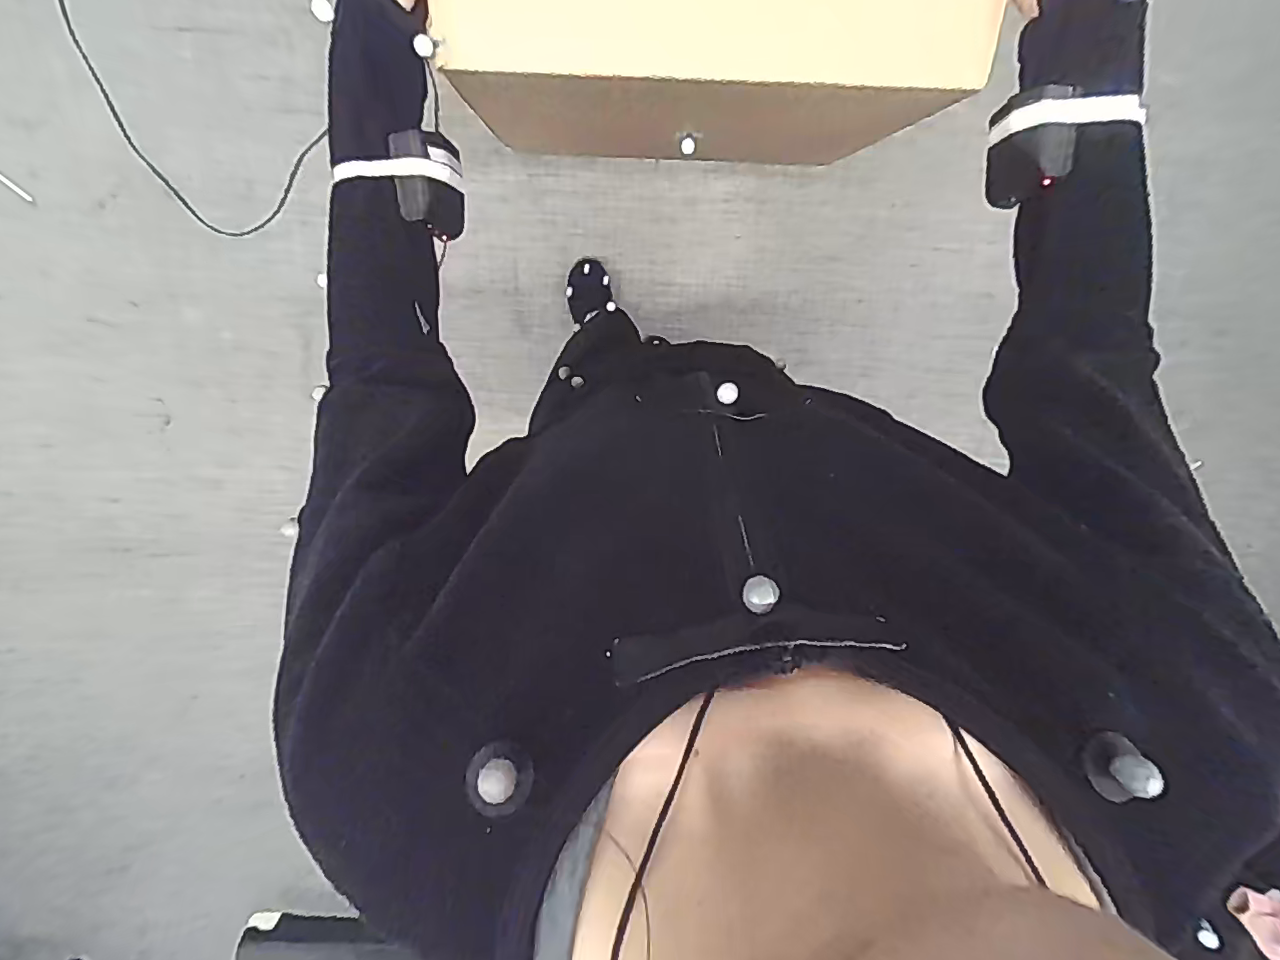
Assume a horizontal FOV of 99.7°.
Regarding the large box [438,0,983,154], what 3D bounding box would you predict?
[{"bbox_3d":[0.051,-0.496,0.489,0.408,0.320,0.320,0,111,-2],"label":"large box"}]
